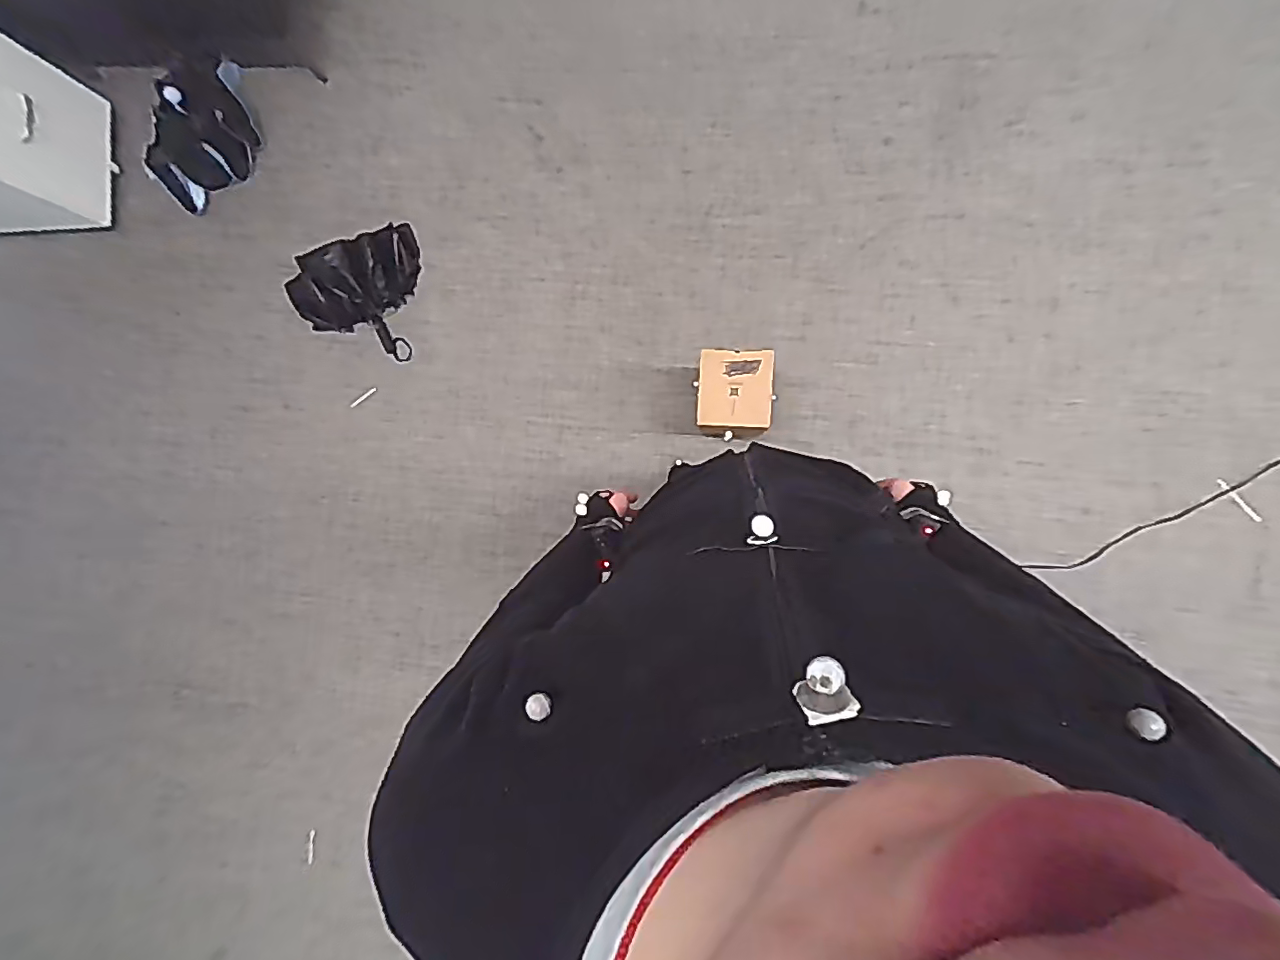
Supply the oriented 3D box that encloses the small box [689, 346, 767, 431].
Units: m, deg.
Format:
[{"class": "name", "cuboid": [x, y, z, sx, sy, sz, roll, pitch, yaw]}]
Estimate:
[{"class": "small box", "cuboid": [0.208, -0.216, 1.307, 0.168, 0.176, 0.179, 4, 92, 8]}]
